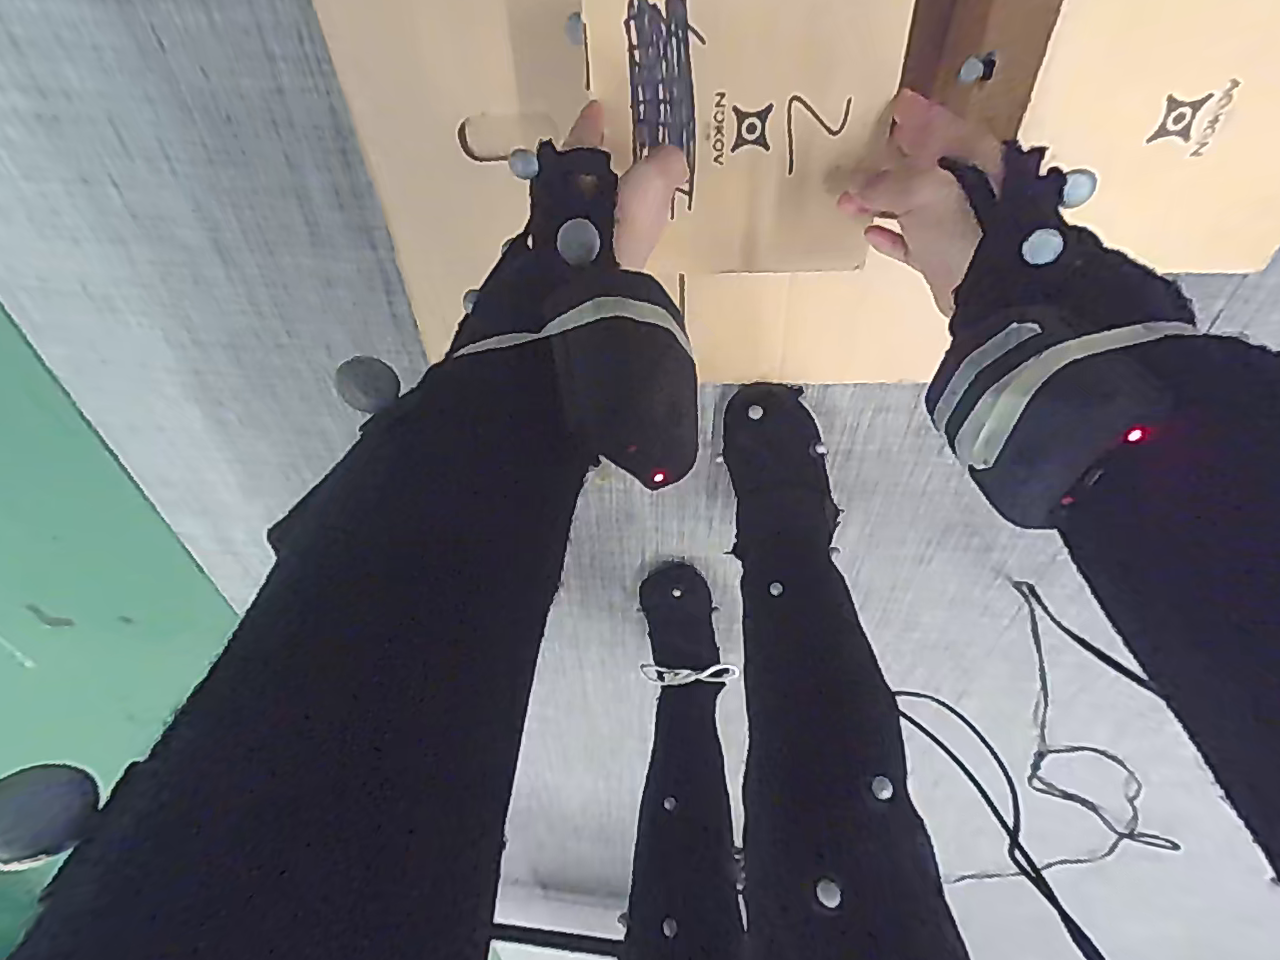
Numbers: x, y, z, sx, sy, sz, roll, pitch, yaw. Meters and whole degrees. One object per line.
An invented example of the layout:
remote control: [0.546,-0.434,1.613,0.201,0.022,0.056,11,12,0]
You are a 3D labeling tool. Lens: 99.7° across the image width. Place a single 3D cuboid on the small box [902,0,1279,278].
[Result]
small box: [0.300,-0.245,0.362,0.179,0.176,0.168,2,128,6]
